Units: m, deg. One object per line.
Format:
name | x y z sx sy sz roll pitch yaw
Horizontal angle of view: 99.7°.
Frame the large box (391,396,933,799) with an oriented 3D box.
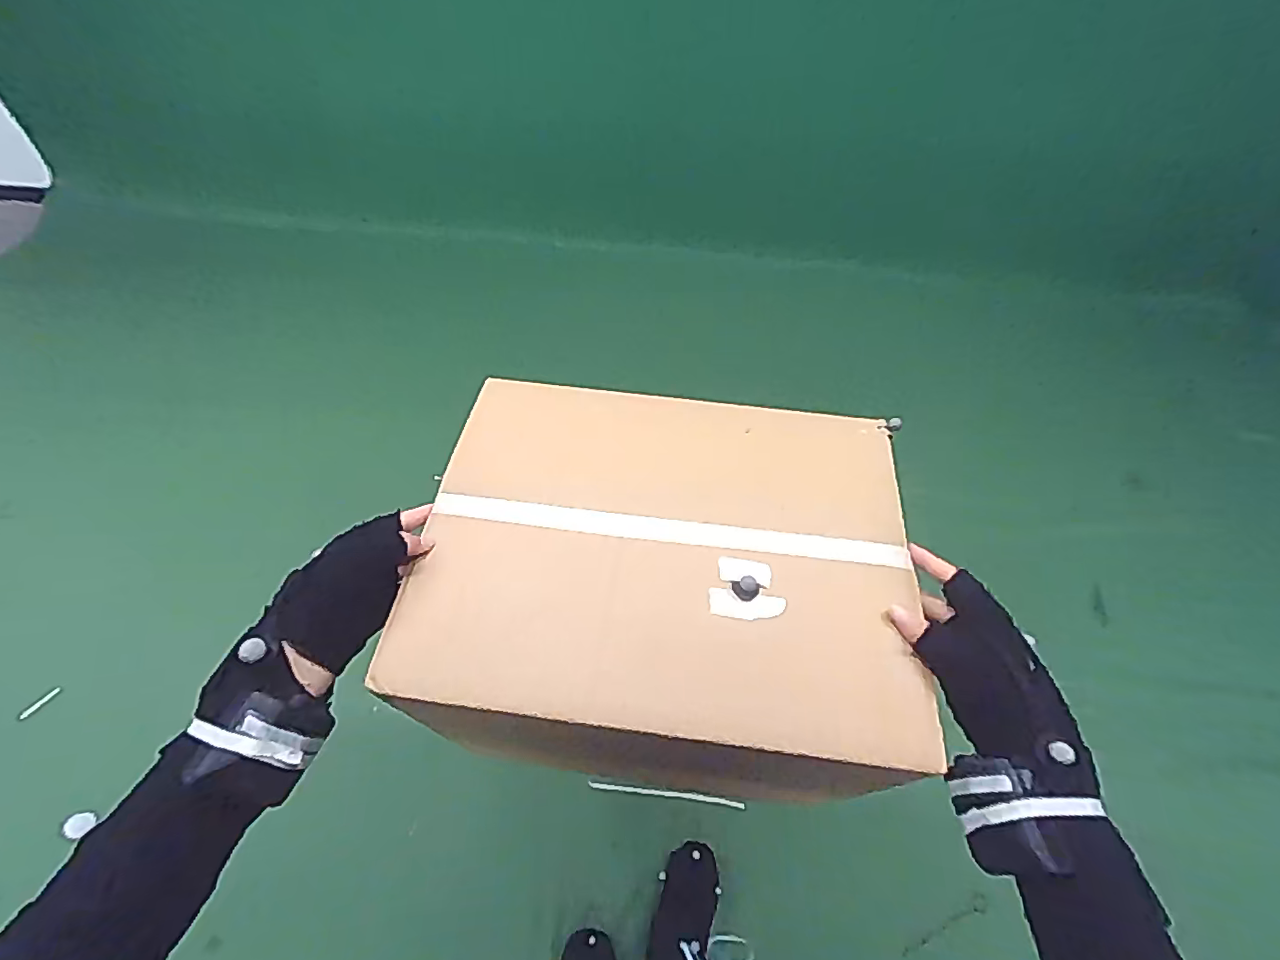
large box | 0.024 0.138 0.594 0.408 0.320 0.320 6 56 4
